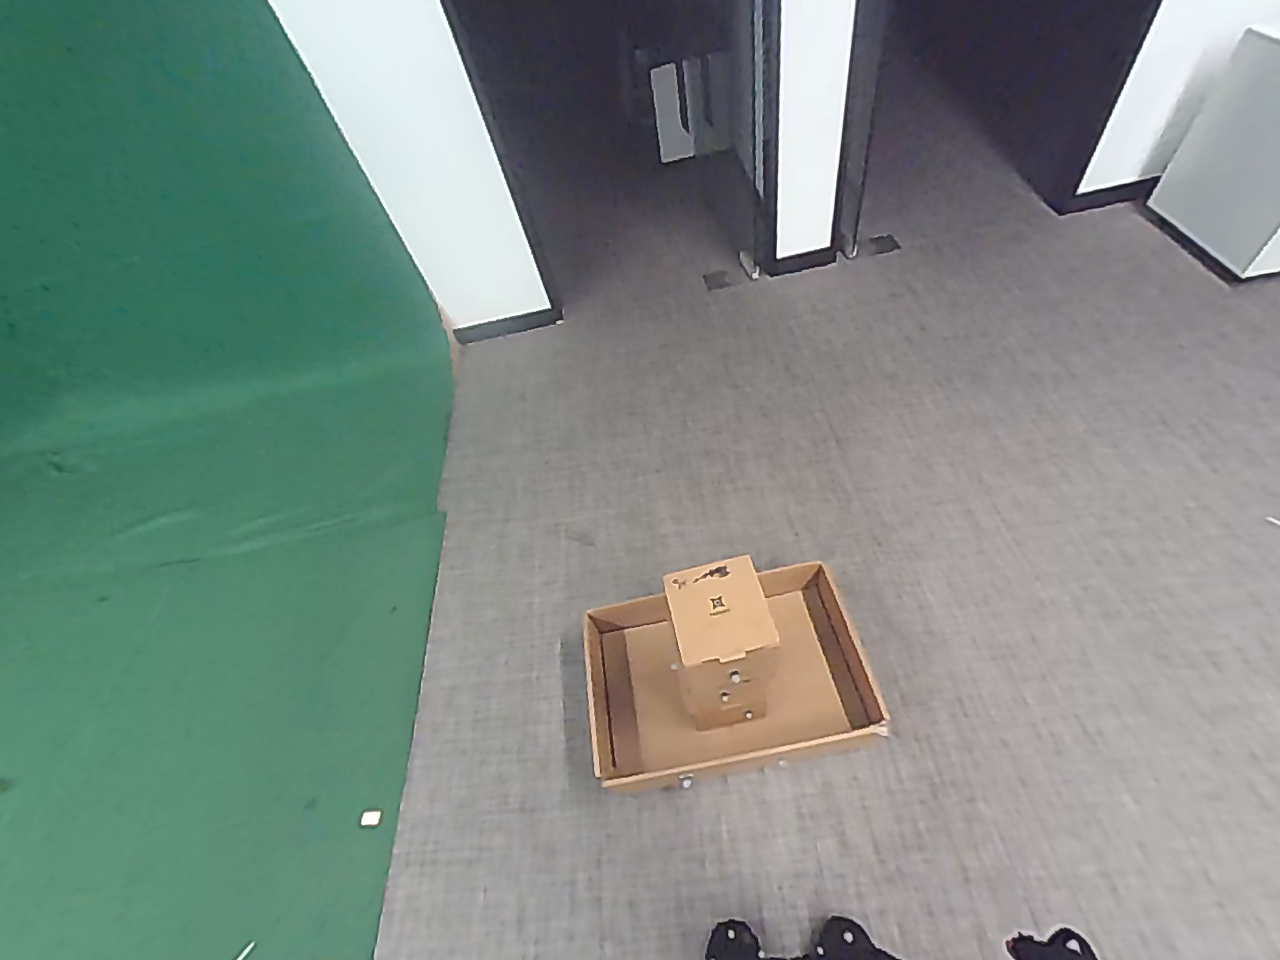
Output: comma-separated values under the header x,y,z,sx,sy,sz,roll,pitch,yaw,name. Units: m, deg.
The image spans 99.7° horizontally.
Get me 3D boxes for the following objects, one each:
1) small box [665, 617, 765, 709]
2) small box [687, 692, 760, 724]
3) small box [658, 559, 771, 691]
x,y,z,sx,sy,sz,roll,pitch,yaw,name
0.158,0.373,1.151,0.179,0.176,0.168,-12,51,3,small box
0.181,0.457,1.270,0.168,0.176,0.179,-12,50,2,small box
0.143,0.281,1.019,0.168,0.176,0.179,-16,51,1,small box
